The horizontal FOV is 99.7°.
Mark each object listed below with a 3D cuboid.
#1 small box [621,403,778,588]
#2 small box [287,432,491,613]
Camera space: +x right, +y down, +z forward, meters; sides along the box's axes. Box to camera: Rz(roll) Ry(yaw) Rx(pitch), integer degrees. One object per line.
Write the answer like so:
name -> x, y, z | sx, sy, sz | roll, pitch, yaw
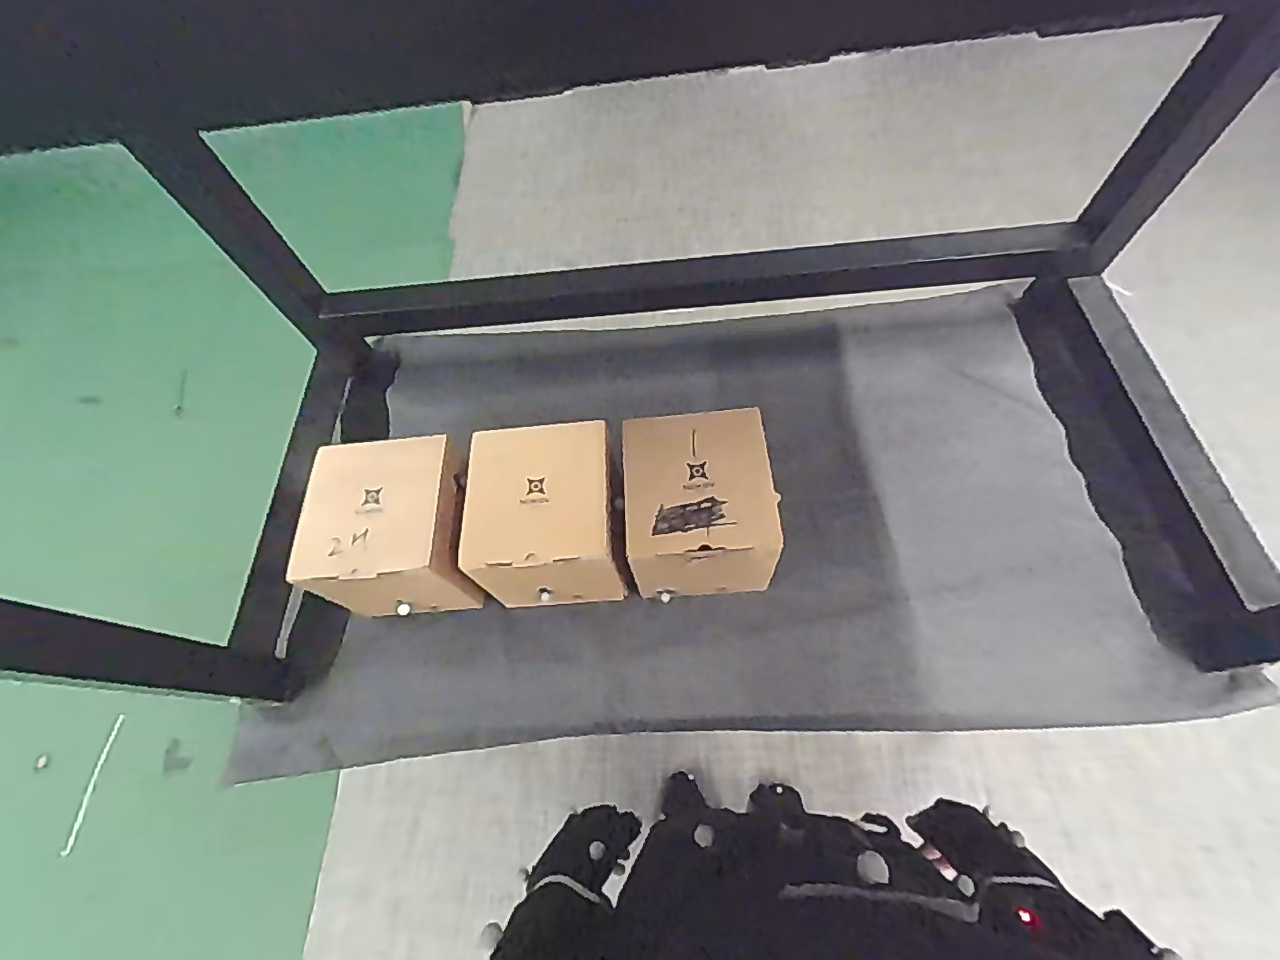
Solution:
small box -> 0.070, 0.029, 0.671 | 0.168, 0.176, 0.179 | -5, 62, 4
small box -> -0.303, 0.060, 0.697 | 0.168, 0.176, 0.179 | -5, 62, 5
